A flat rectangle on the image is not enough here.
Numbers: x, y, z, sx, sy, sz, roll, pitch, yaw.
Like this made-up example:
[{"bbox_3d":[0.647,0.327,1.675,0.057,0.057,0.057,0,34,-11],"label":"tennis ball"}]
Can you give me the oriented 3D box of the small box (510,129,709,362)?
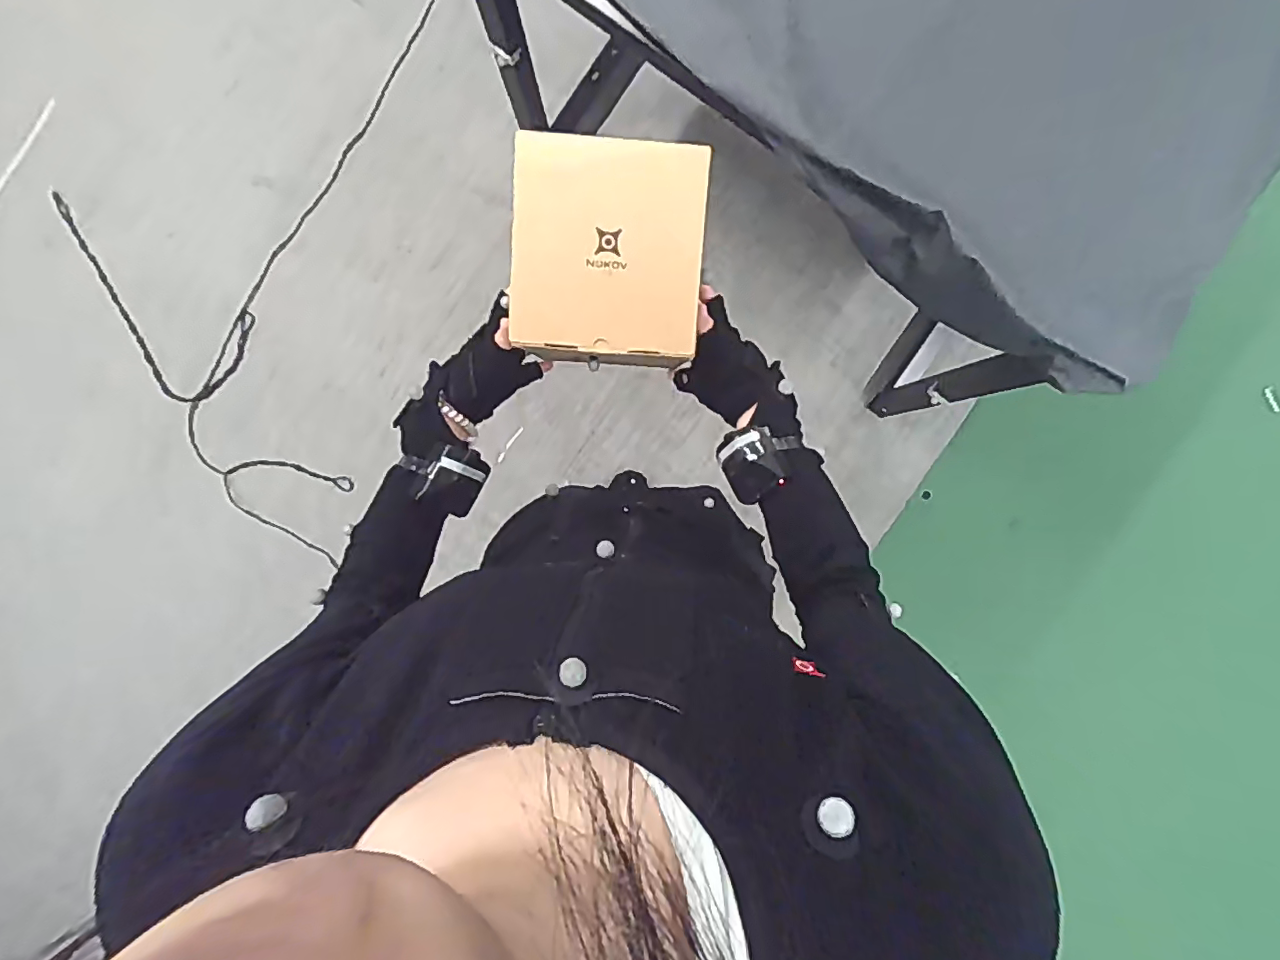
[{"bbox_3d":[-0.032,-0.218,0.552,0.168,0.176,0.179,4,100,-3],"label":"small box"}]
